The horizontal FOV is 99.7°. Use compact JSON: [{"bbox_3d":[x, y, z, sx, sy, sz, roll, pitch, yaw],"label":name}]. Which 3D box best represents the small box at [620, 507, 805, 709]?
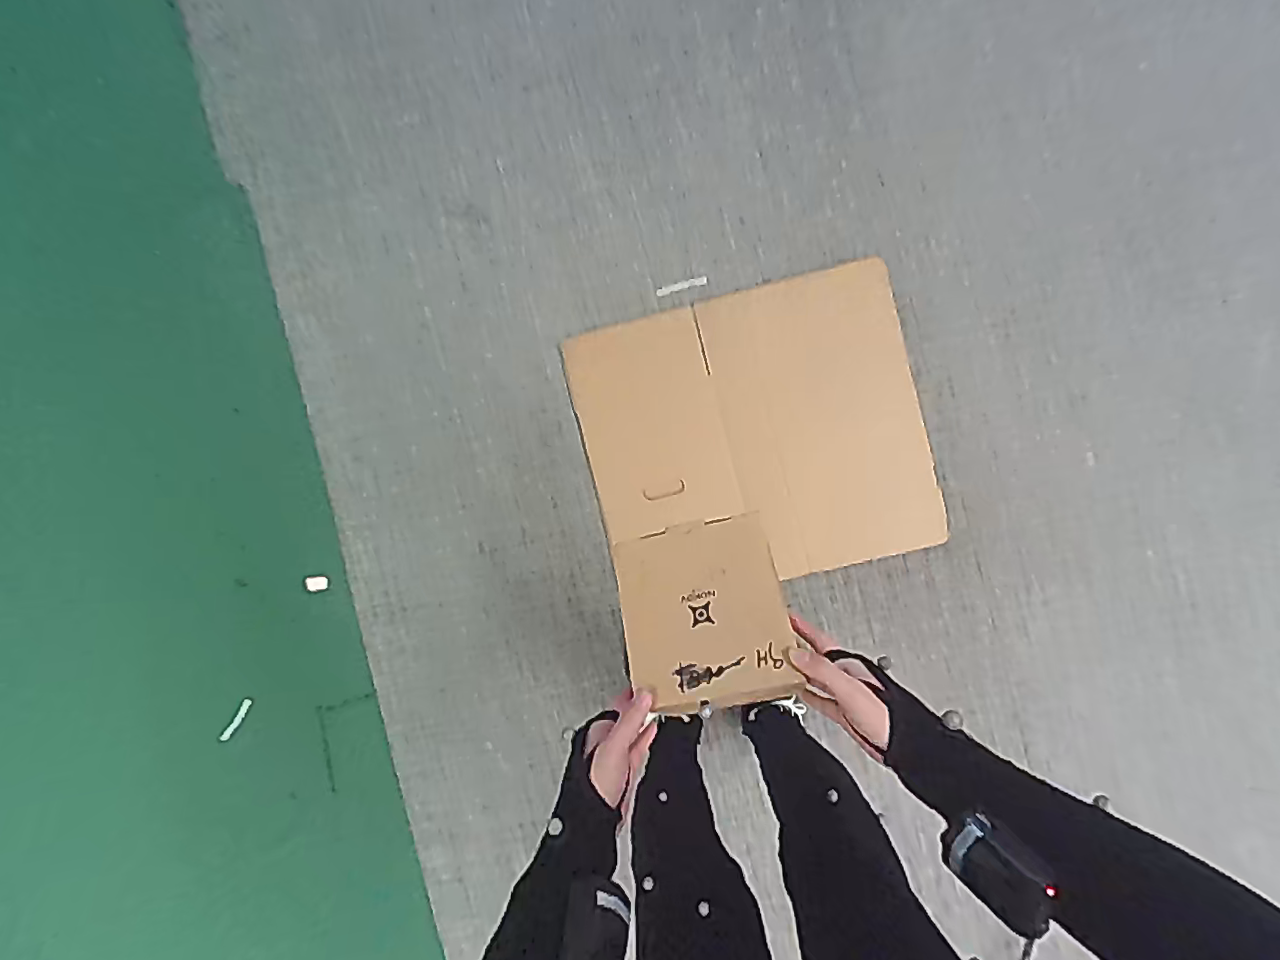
[{"bbox_3d":[0.085,0.155,0.621,0.168,0.176,0.179,-14,62,10],"label":"small box"}]
